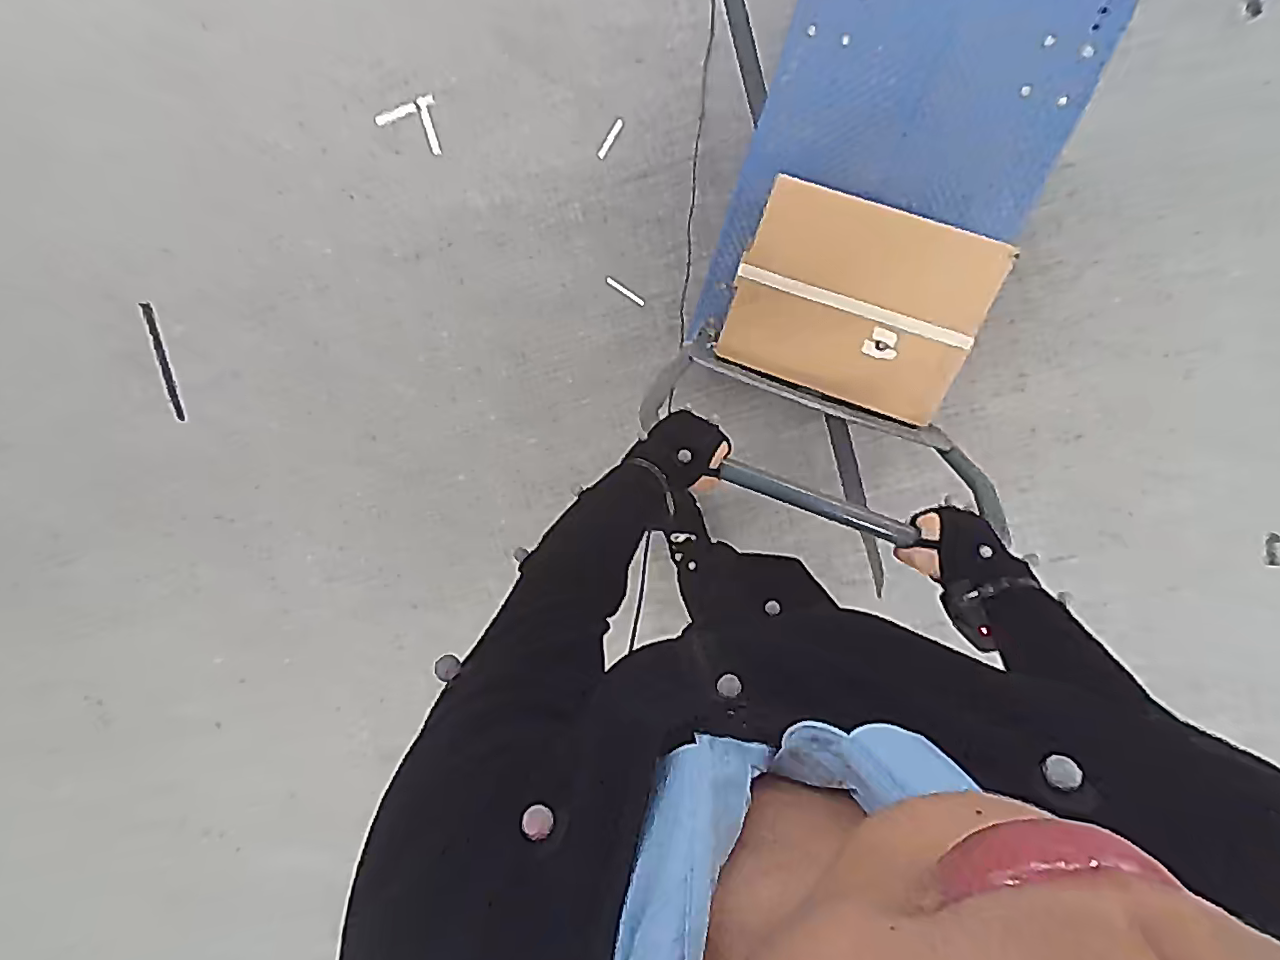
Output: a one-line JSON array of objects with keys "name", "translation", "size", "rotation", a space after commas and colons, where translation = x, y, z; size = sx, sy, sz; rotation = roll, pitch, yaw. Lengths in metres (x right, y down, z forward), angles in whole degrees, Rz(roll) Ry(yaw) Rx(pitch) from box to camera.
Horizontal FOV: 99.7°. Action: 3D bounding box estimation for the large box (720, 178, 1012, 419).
[{"name": "large box", "translation": [0.405, -0.353, 1.084], "size": [0.408, 0.320, 0.320], "rotation": [21, 111, 5]}]
